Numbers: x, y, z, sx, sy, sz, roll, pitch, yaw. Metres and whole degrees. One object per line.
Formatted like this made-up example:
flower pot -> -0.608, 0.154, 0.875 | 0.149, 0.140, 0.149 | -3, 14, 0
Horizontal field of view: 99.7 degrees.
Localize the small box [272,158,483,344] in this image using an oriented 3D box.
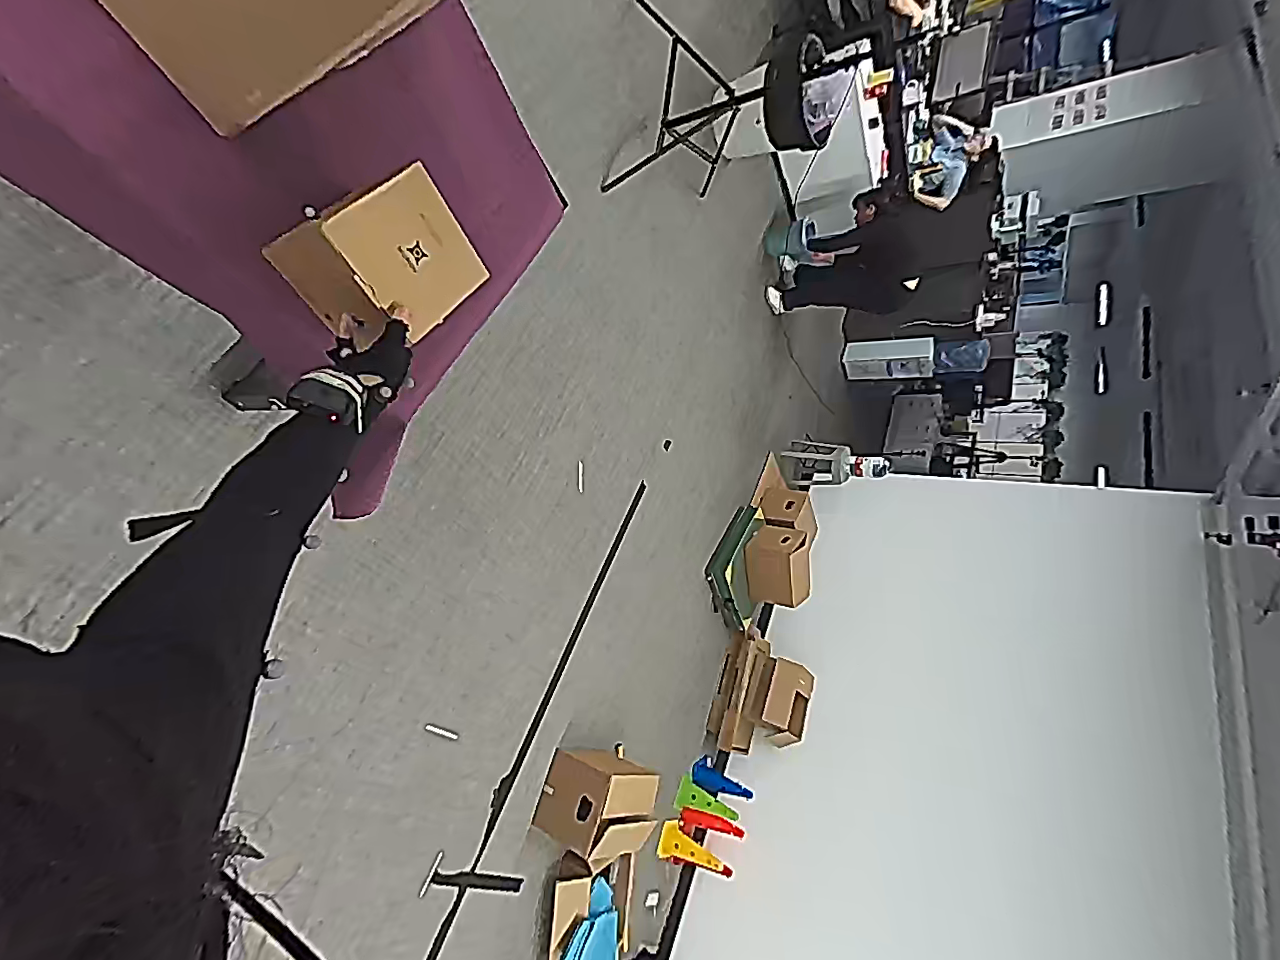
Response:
small box -> -0.362, -0.304, 0.744 | 0.179, 0.176, 0.168 | -60, 139, -32
